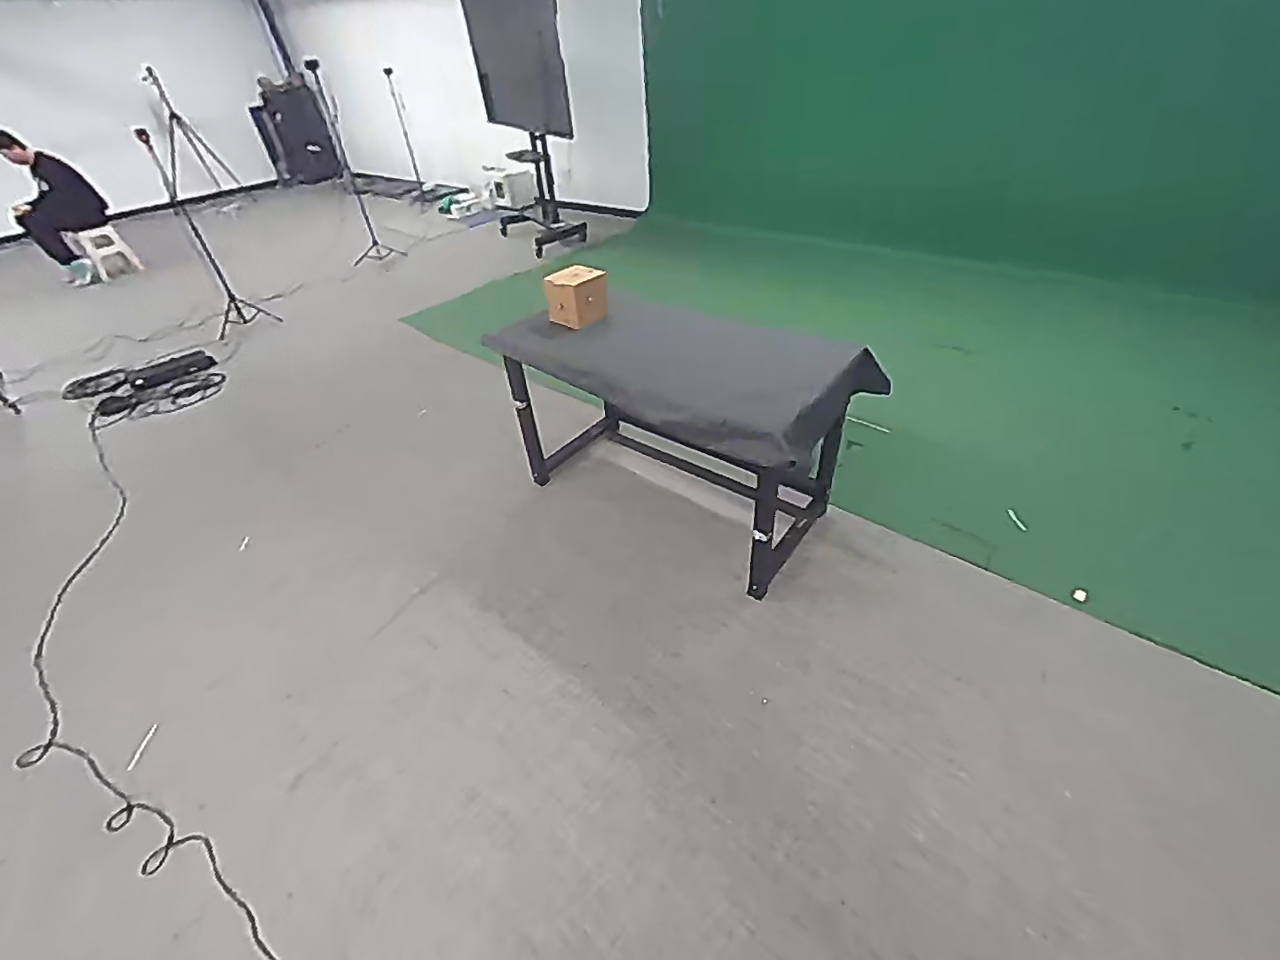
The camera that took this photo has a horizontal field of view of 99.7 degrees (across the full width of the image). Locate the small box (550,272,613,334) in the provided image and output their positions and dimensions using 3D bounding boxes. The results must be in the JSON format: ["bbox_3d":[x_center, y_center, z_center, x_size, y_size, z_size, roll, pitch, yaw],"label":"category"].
[{"bbox_3d":[-0.219,-0.684,2.095,0.168,0.176,0.179,27,49,32],"label":"small box"}]
